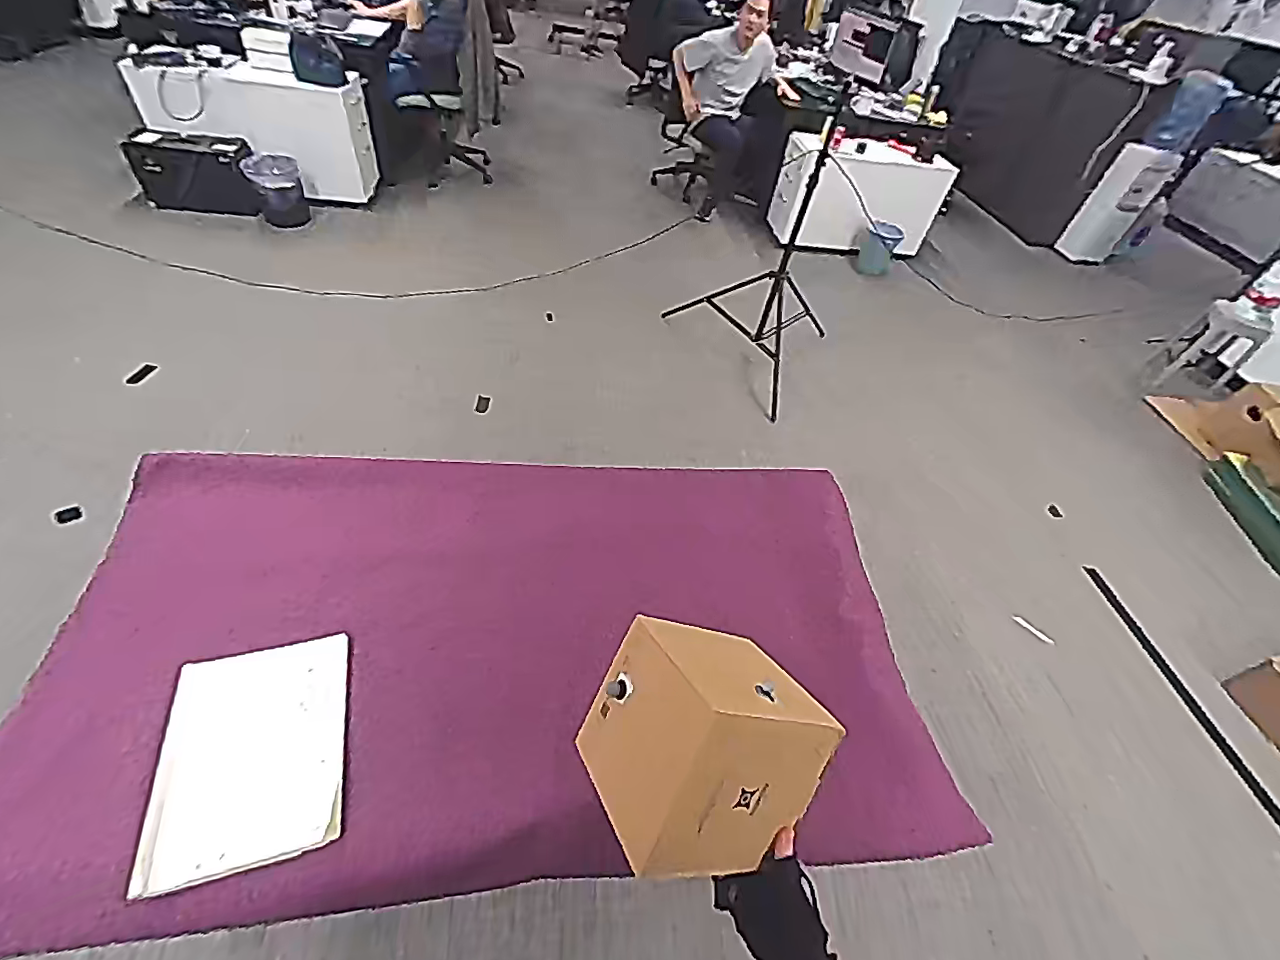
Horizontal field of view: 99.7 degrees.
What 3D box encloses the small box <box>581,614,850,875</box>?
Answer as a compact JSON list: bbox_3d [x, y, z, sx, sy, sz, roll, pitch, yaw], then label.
[{"bbox_3d":[0.067,0.256,0.552,0.179,0.168,0.176,20,6,-30],"label":"small box"}]
